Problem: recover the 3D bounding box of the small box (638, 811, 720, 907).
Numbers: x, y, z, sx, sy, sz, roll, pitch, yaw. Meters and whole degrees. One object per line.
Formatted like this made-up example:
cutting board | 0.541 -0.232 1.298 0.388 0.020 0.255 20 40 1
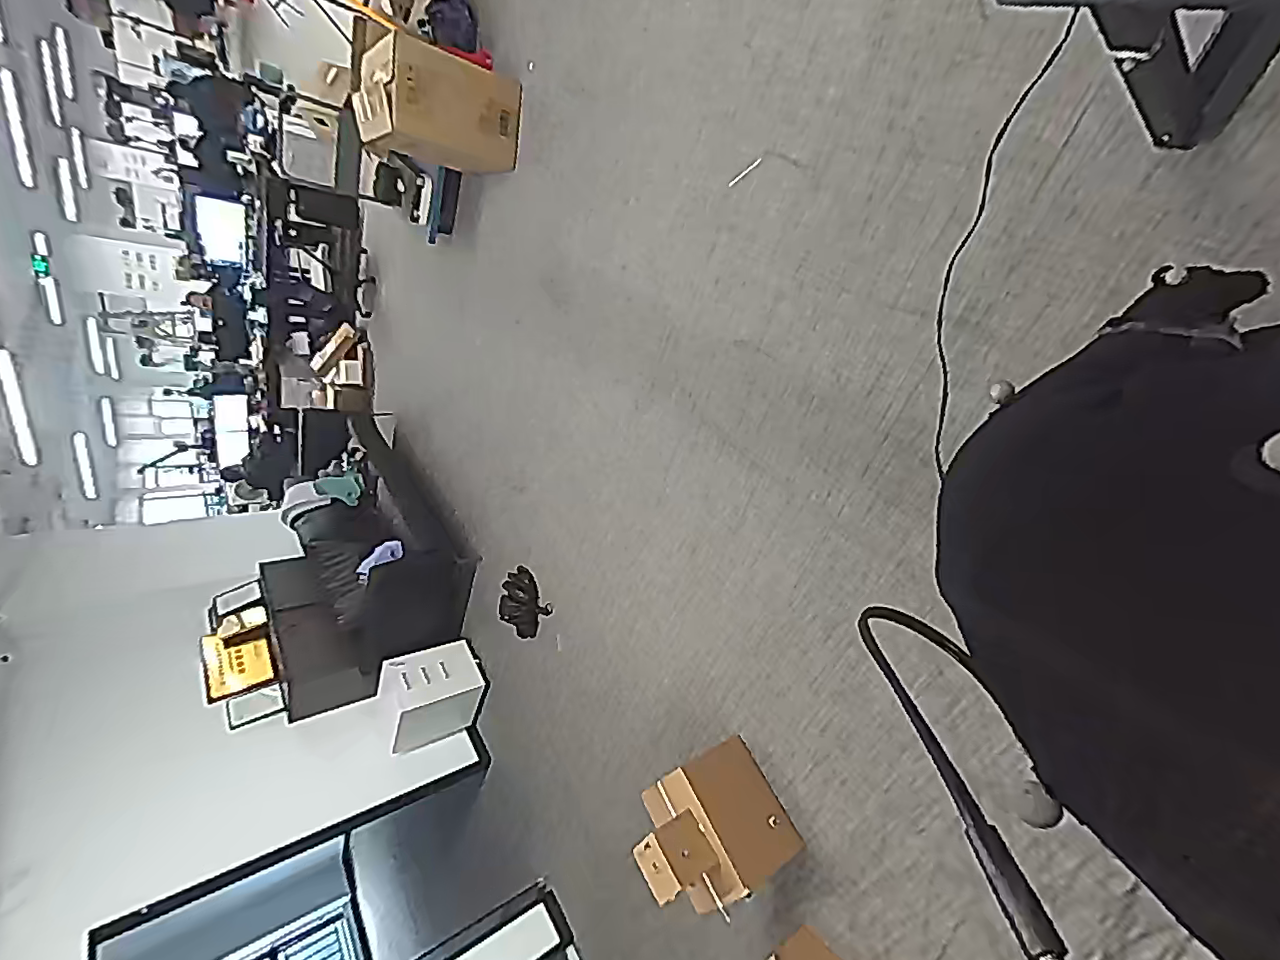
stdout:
small box | 0.129 1.227 1.759 0.179 0.176 0.168 51 129 32
